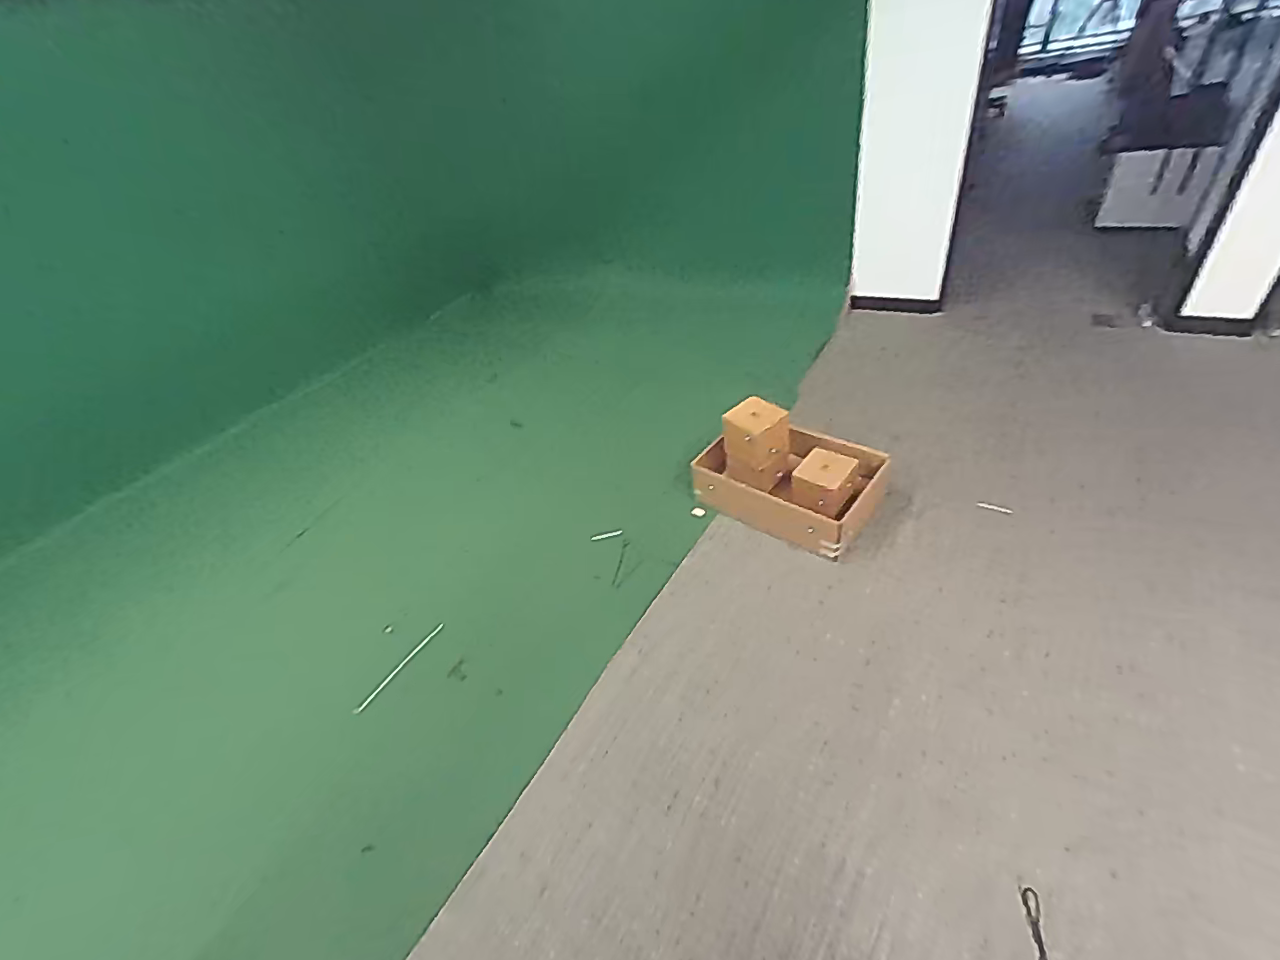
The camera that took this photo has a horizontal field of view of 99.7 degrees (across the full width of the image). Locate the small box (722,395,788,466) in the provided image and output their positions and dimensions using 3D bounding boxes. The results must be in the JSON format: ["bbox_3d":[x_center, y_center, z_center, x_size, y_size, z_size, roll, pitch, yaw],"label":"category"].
[{"bbox_3d":[0.421,-0.179,1.976,0.168,0.176,0.179,-35,46,-22],"label":"small box"}]
